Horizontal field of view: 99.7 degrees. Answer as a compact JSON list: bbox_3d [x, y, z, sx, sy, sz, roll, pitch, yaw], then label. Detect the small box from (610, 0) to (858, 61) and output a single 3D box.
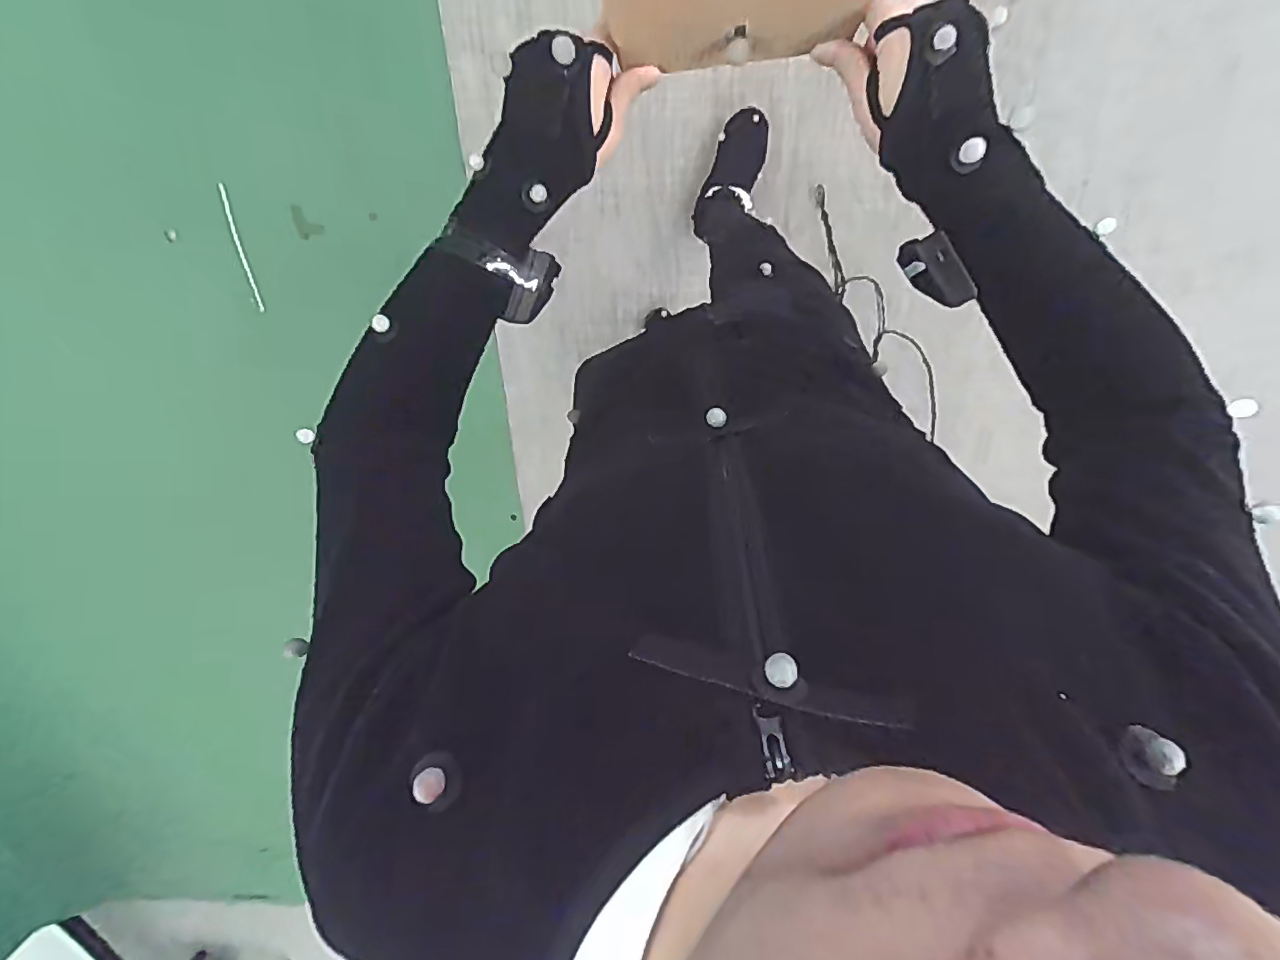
[{"bbox_3d":[0.062,-0.387,0.316,0.179,0.176,0.168,-3,102,5],"label":"small box"}]
